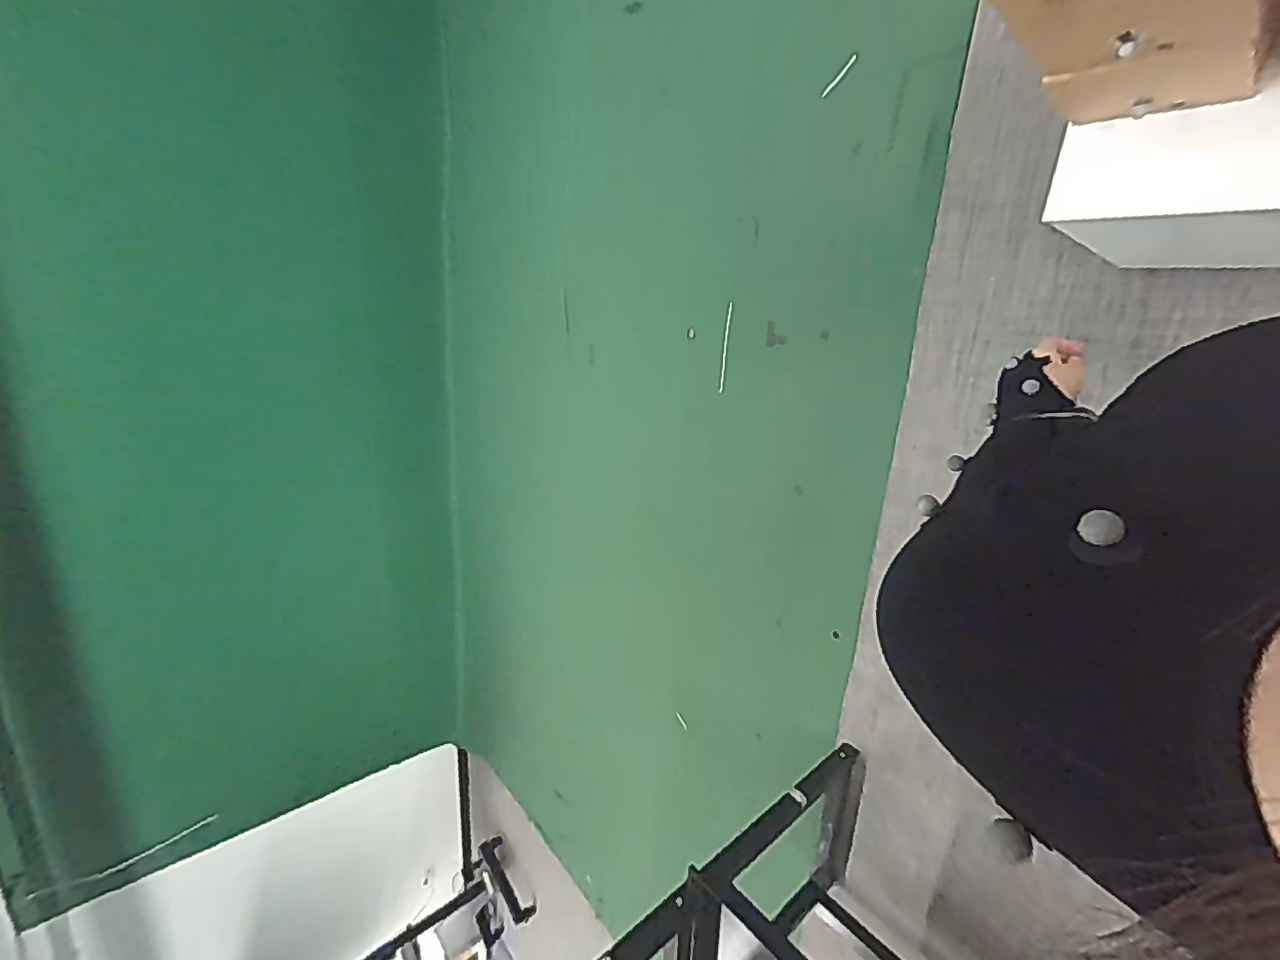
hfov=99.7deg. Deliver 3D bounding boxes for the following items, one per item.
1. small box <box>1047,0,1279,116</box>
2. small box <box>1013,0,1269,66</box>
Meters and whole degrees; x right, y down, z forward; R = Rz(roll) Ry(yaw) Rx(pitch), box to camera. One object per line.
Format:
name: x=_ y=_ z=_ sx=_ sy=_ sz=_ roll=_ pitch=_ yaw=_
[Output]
small box: x=0.572 y=-0.521 z=0.572 sx=0.168 sy=0.176 sz=0.179 roll=23 pitch=116 yaw=45
small box: x=0.452 y=-0.501 z=0.462 sx=0.168 sy=0.176 sz=0.179 roll=24 pitch=116 yaw=44
